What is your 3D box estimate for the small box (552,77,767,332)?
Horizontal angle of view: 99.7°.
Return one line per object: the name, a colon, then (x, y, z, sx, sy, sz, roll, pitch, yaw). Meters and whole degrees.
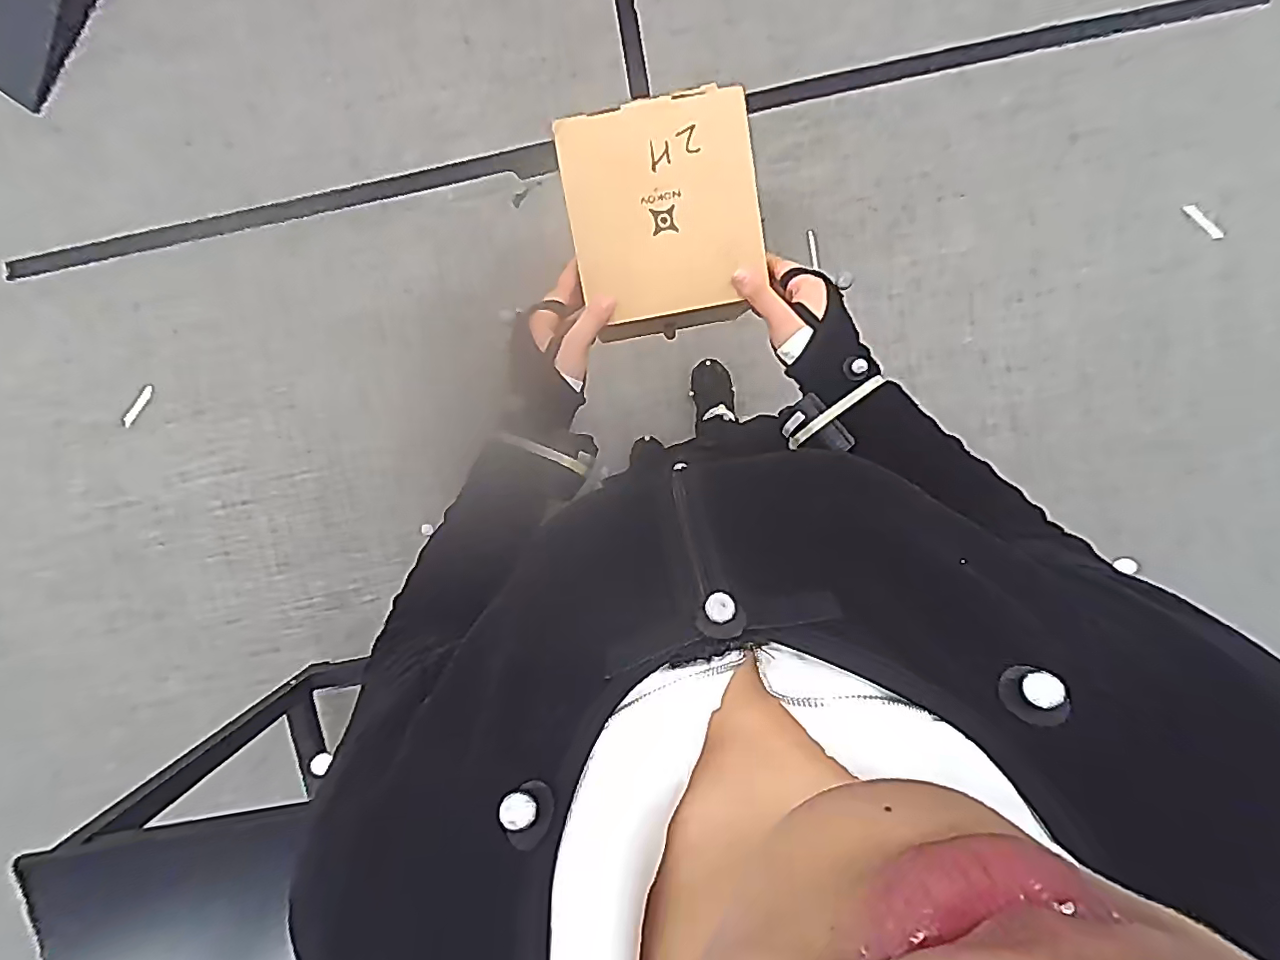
small box: (0.021, -0.252, 0.546, 0.168, 0.176, 0.179, -11, 99, 2)
